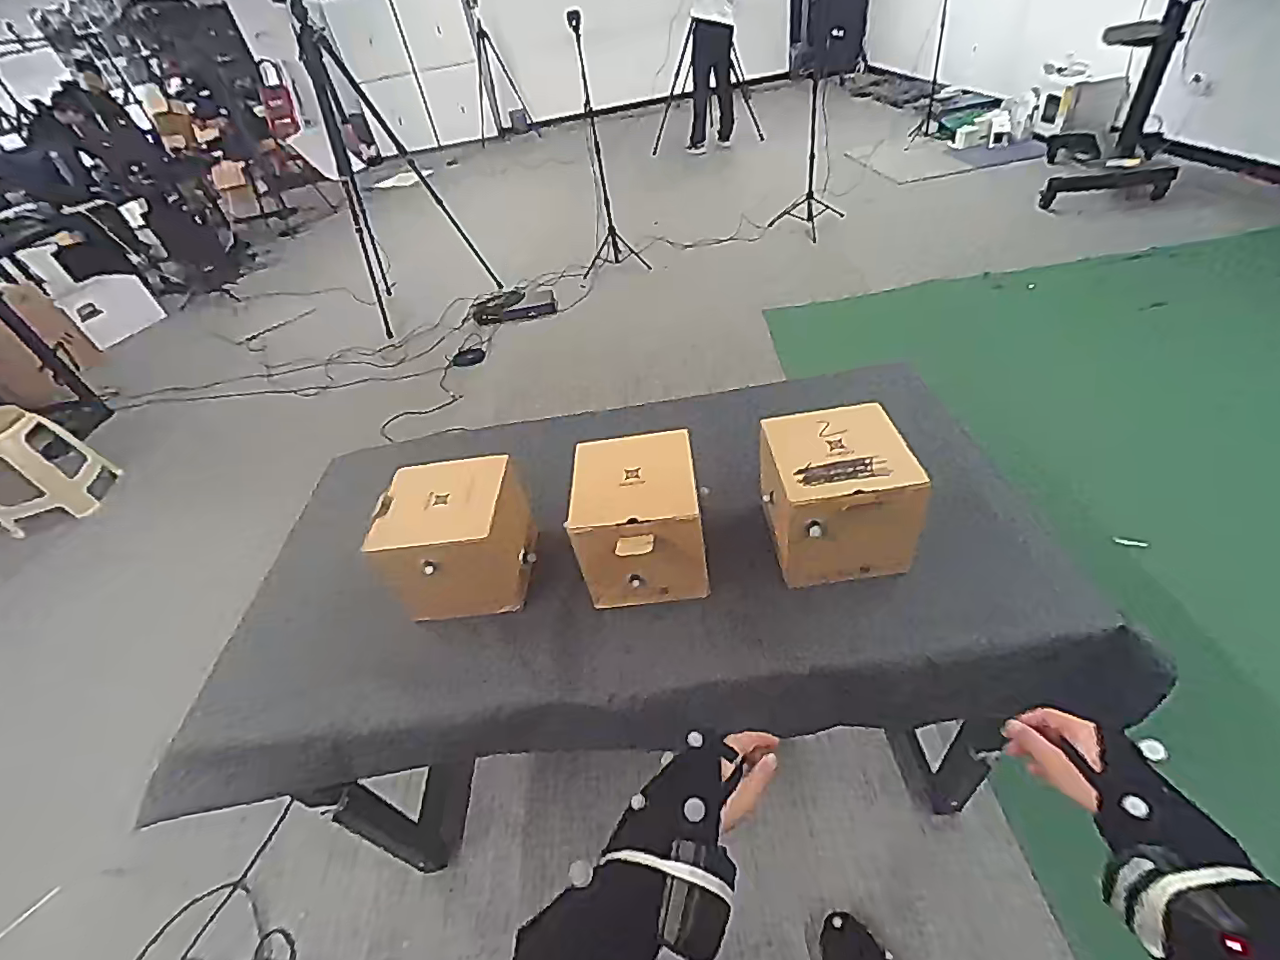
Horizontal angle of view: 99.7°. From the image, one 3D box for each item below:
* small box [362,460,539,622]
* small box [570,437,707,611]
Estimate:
[{"bbox_3d":[-0.264,0.094,0.799,0.179,0.176,0.168,-6,42,4],"label":"small box"},{"bbox_3d":[0.003,0.062,0.774,0.168,0.176,0.179,-7,42,5],"label":"small box"}]
